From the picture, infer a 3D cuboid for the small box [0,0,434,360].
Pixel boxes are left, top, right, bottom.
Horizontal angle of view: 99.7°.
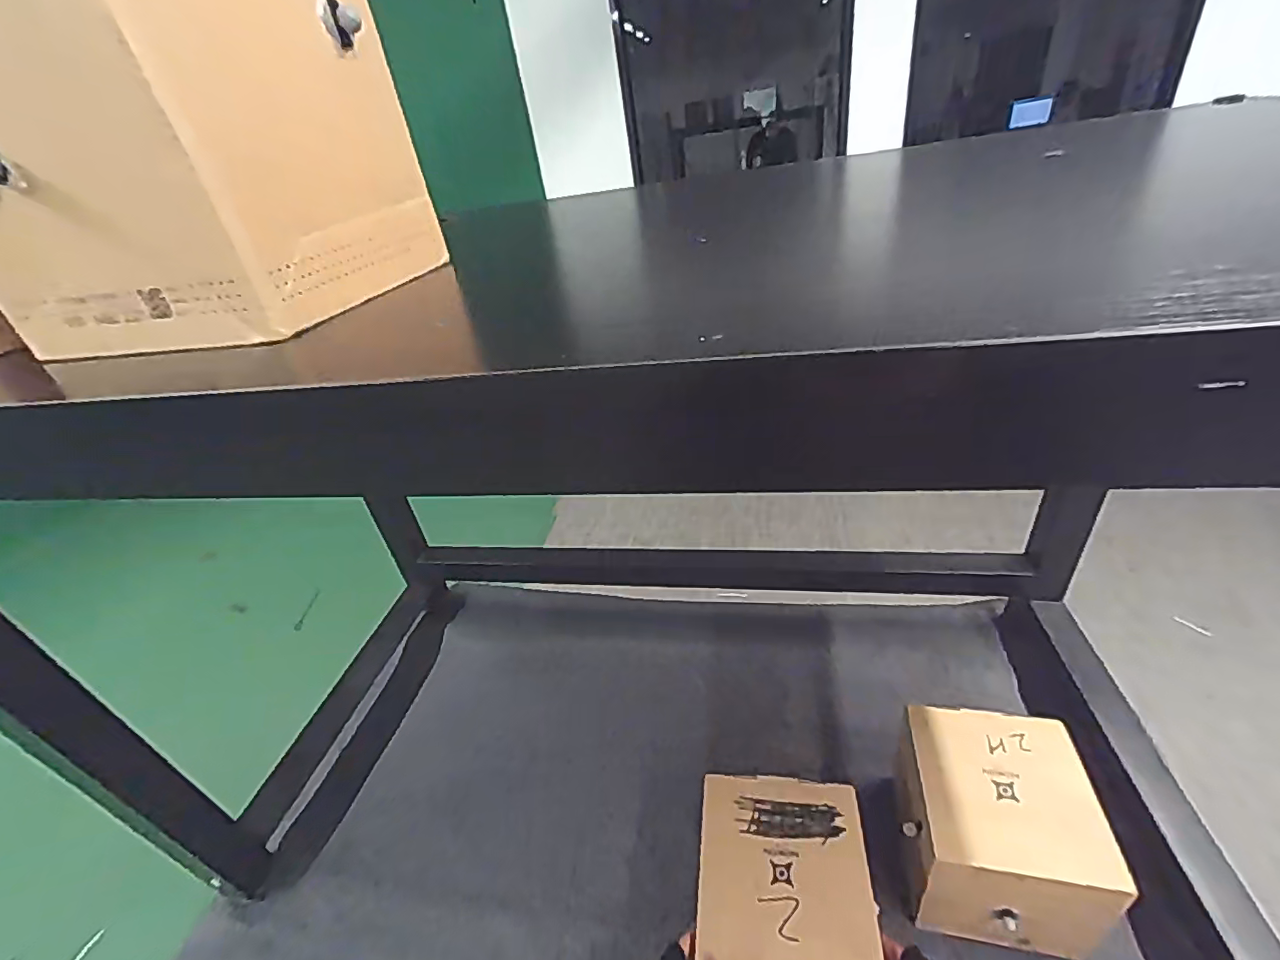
[{"bbox_3d":[-0.250,-0.175,0.312,0.168,0.176,0.179,-1,33,14],"label":"small box"}]
